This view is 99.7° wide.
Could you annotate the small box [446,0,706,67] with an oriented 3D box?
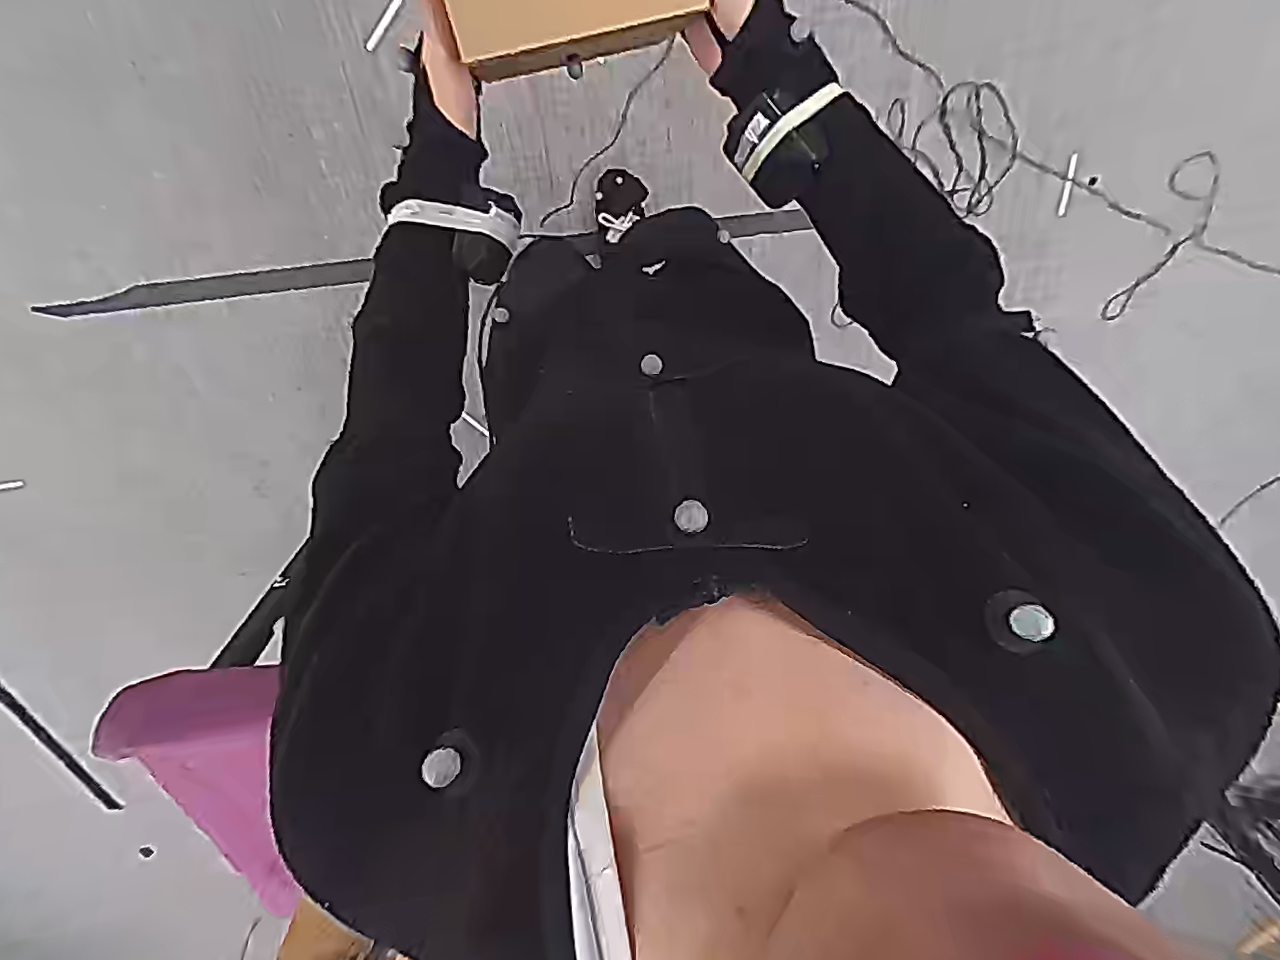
[{"bbox_3d":[-0.061,-0.400,0.362,0.168,0.176,0.179,-15,124,-2],"label":"small box"}]
